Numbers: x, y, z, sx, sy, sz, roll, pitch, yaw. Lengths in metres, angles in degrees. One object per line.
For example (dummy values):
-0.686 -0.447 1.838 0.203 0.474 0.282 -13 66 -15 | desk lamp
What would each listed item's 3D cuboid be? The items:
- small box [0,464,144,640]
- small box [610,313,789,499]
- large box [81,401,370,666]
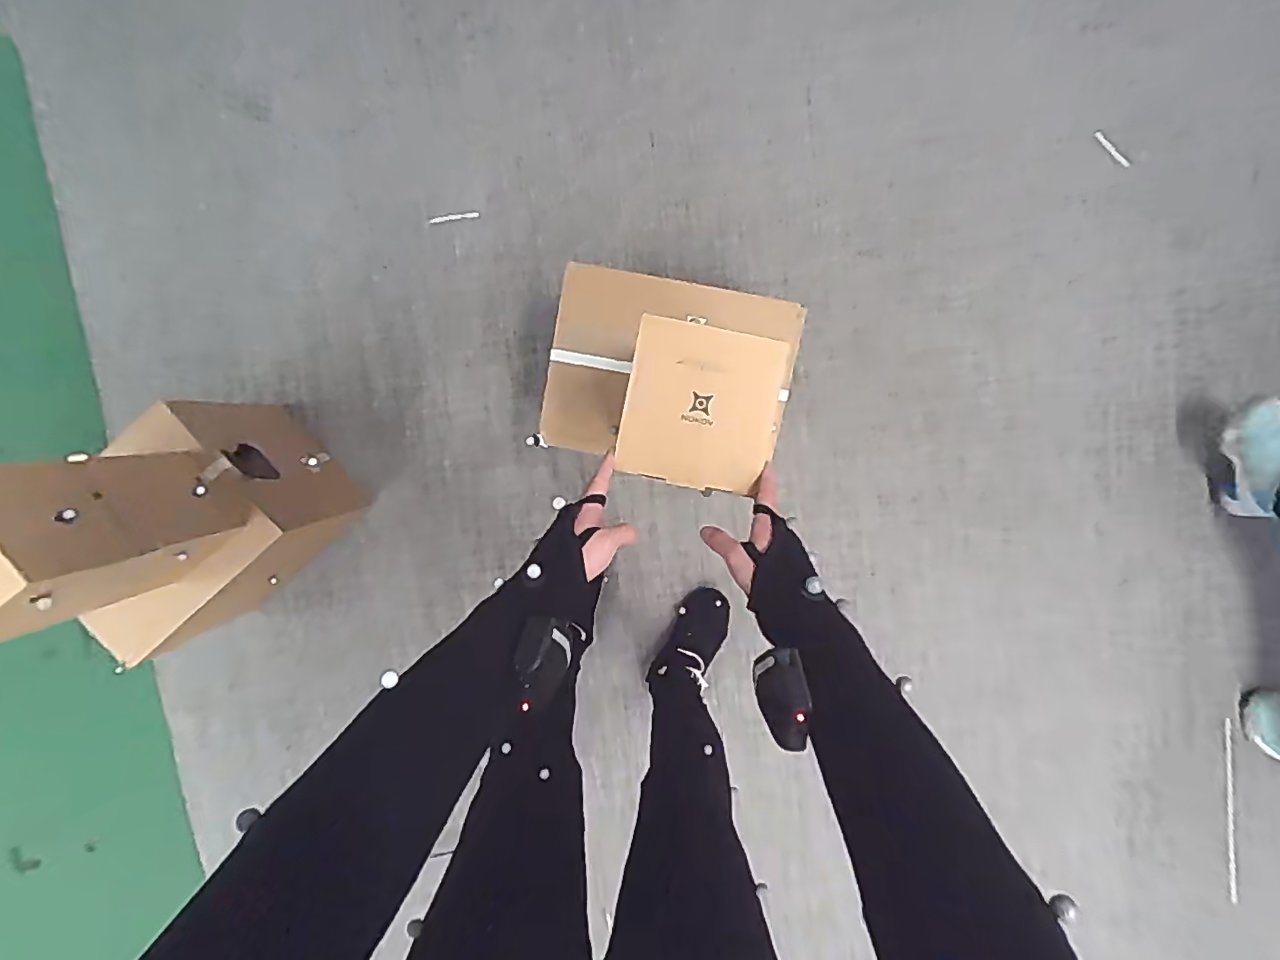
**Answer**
-0.811 0.094 0.700 0.179 0.176 0.168 -36 94 5 | small box
0.064 -0.086 0.665 0.168 0.176 0.179 12 95 -2 | small box
-0.866 0.084 1.113 0.408 0.320 0.320 -40 93 6 | large box
